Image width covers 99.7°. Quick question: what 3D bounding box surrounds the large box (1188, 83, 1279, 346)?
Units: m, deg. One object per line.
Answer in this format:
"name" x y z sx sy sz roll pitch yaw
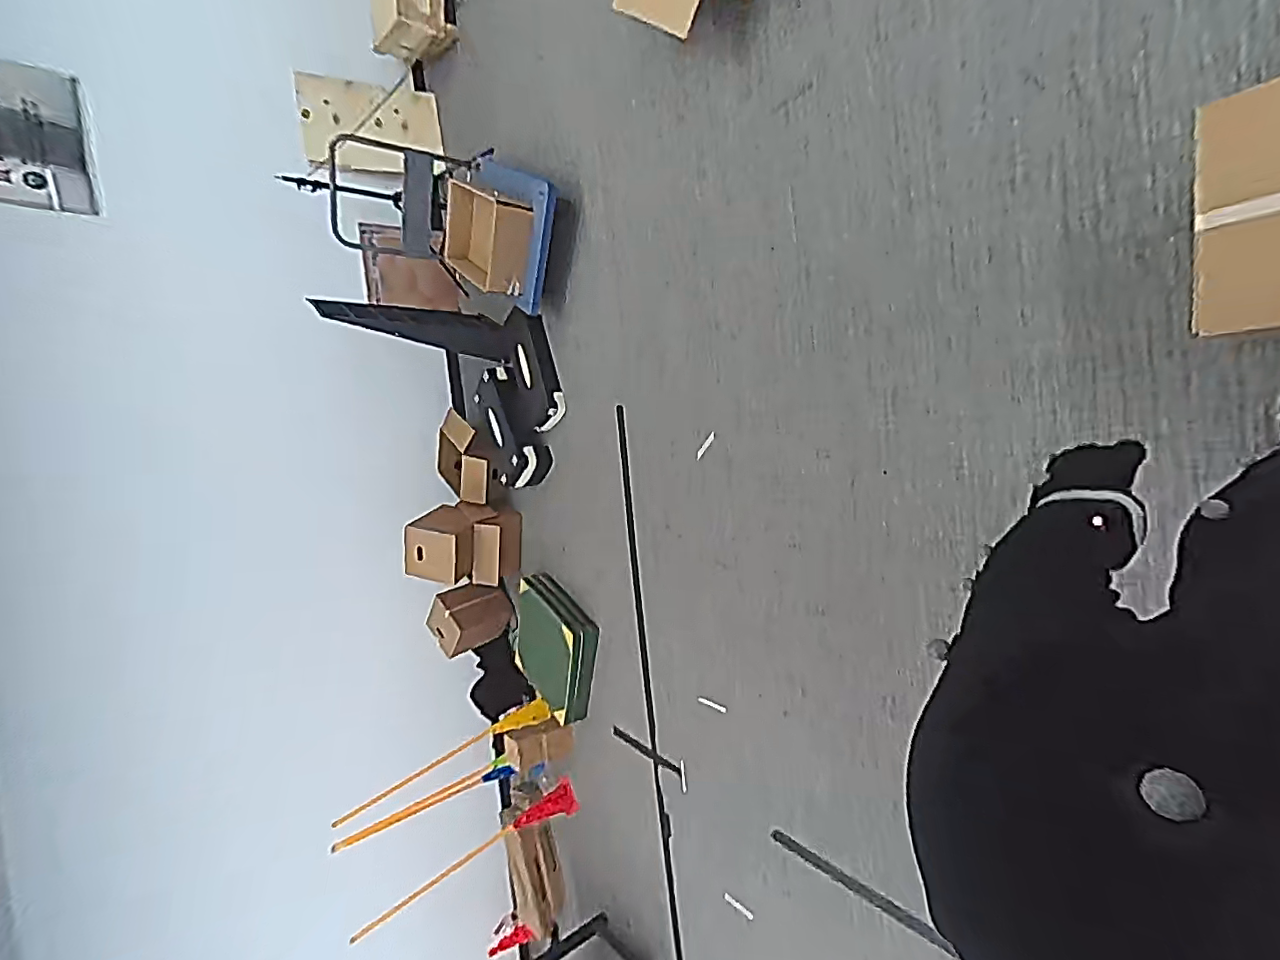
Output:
"large box" 1.014 -0.369 0.695 0.408 0.320 0.320 1 98 53
